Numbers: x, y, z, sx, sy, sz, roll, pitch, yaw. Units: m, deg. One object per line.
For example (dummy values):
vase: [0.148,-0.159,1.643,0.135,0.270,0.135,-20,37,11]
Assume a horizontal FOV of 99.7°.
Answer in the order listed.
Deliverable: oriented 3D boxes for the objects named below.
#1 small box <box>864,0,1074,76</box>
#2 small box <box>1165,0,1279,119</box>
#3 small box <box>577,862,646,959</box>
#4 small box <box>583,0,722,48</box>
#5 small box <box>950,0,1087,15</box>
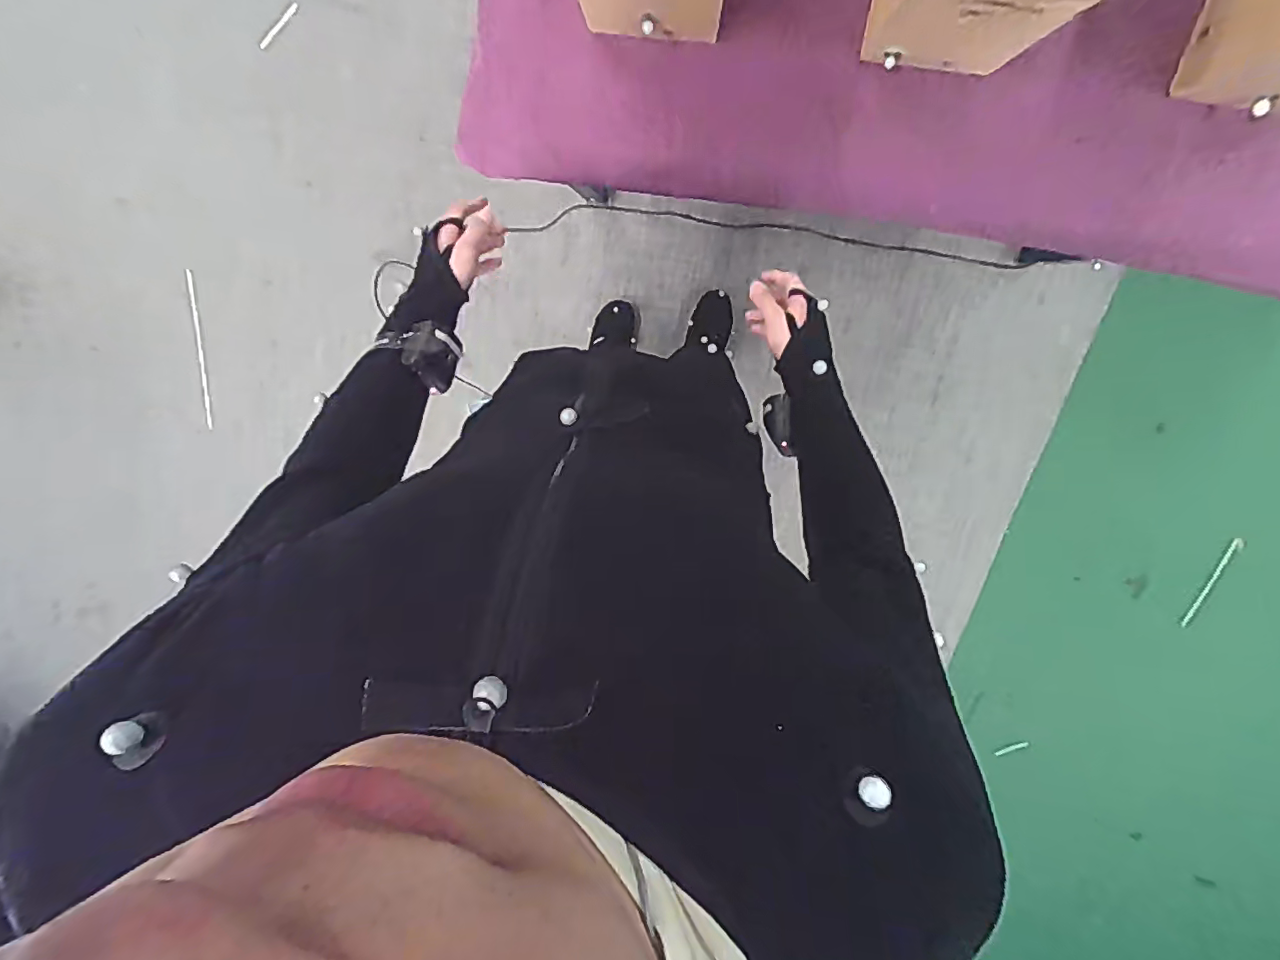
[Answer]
small box: [0.362,-0.571,0.582,0.168,0.176,0.179,8,109,0]
small box: [0.748,-0.511,0.579,0.179,0.176,0.168,9,110,0]
small box: [-0.080,1.297,1.618,0.168,0.176,0.179,12,110,0]
small box: [0.018,-0.615,0.586,0.168,0.176,0.179,7,110,1]
small box: [0.352,-0.512,0.430,0.179,0.176,0.168,8,111,0]
